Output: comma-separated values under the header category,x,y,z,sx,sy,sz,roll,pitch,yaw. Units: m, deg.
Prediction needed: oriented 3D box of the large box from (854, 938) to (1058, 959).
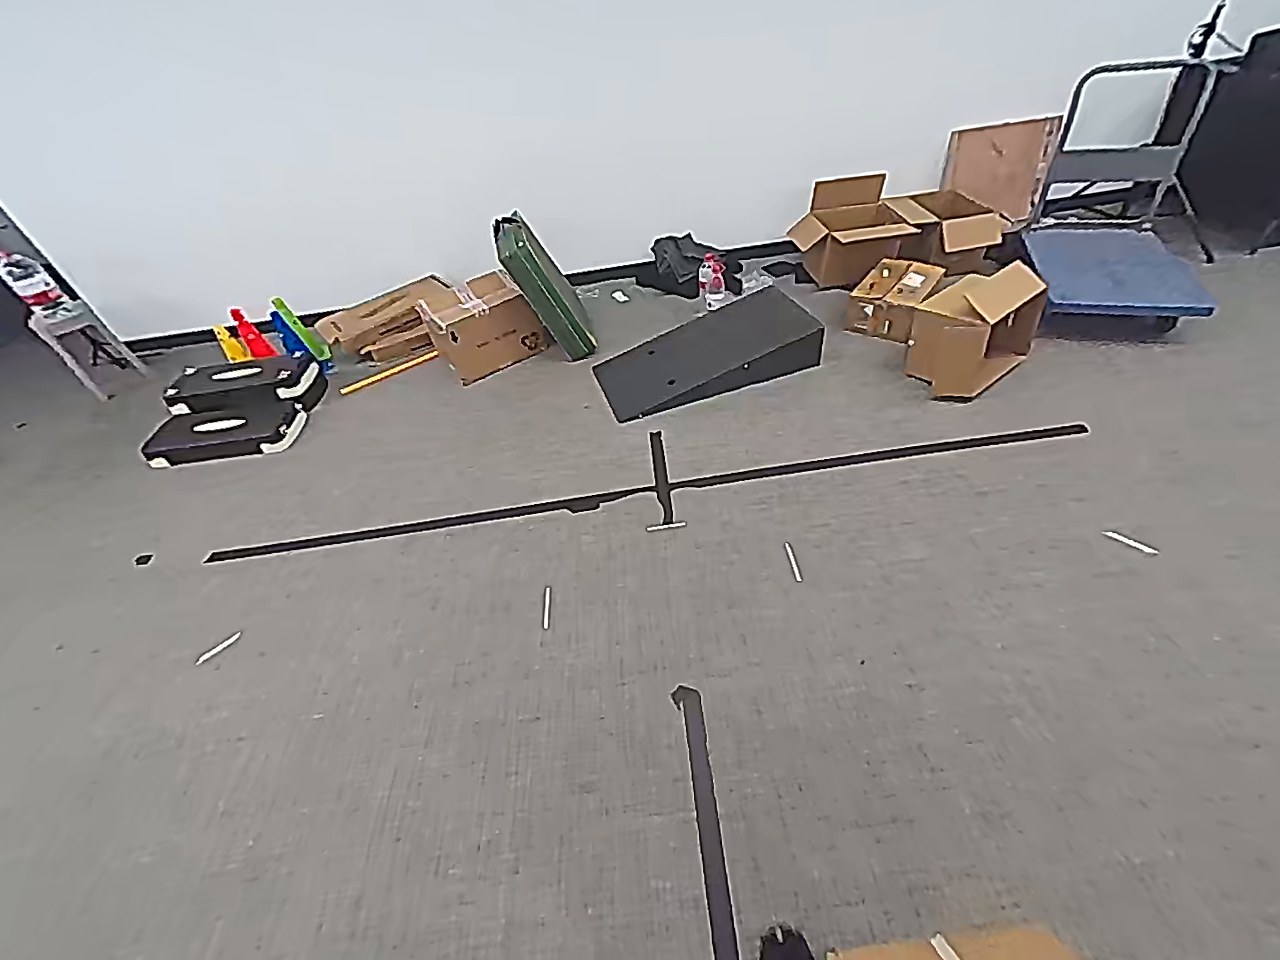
category,x,y,z,sx,sy,sz,roll,pitch,yaw
large box,0.432,0.787,0.551,0.320,0.408,0.320,-6,80,0
